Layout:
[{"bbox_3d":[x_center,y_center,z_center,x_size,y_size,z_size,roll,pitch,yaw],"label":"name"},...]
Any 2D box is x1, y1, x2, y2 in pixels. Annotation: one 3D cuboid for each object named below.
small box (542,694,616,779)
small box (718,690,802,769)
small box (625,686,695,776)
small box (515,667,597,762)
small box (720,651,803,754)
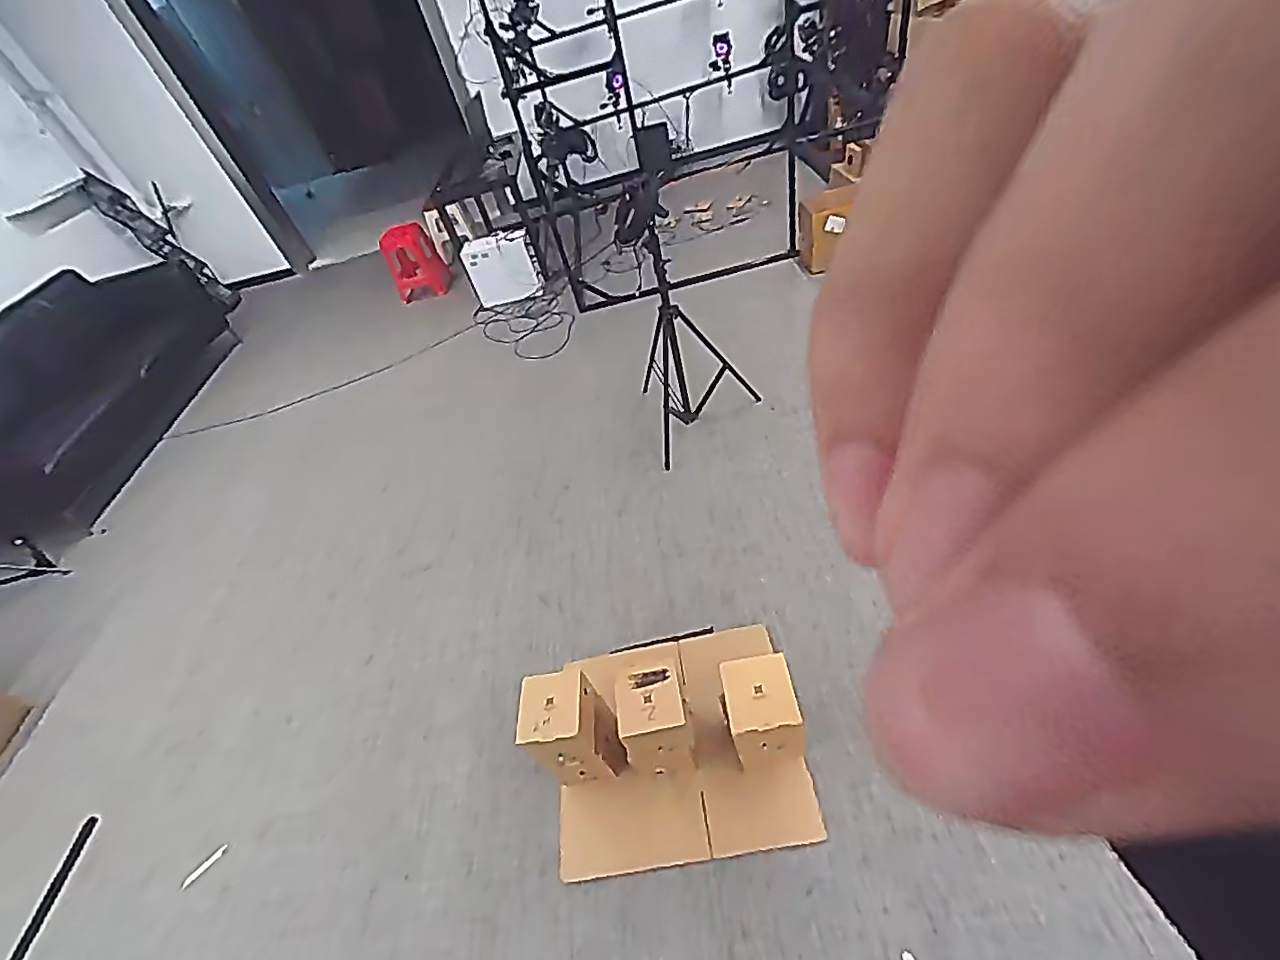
[{"bbox_3d":[-0.169,0.739,1.547,0.168,0.176,0.179,-12,46,7],"label":"small box"},{"bbox_3d":[0.329,0.659,1.471,0.179,0.176,0.168,-19,45,-2],"label":"small box"},{"bbox_3d":[0.056,0.703,1.513,0.168,0.176,0.179,-10,45,7],"label":"small box"},{"bbox_3d":[-0.216,0.624,1.438,0.168,0.176,0.179,-11,45,8],"label":"small box"},{"bbox_3d":[0.299,0.556,1.348,0.168,0.176,0.179,-12,45,5],"label":"small box"}]
